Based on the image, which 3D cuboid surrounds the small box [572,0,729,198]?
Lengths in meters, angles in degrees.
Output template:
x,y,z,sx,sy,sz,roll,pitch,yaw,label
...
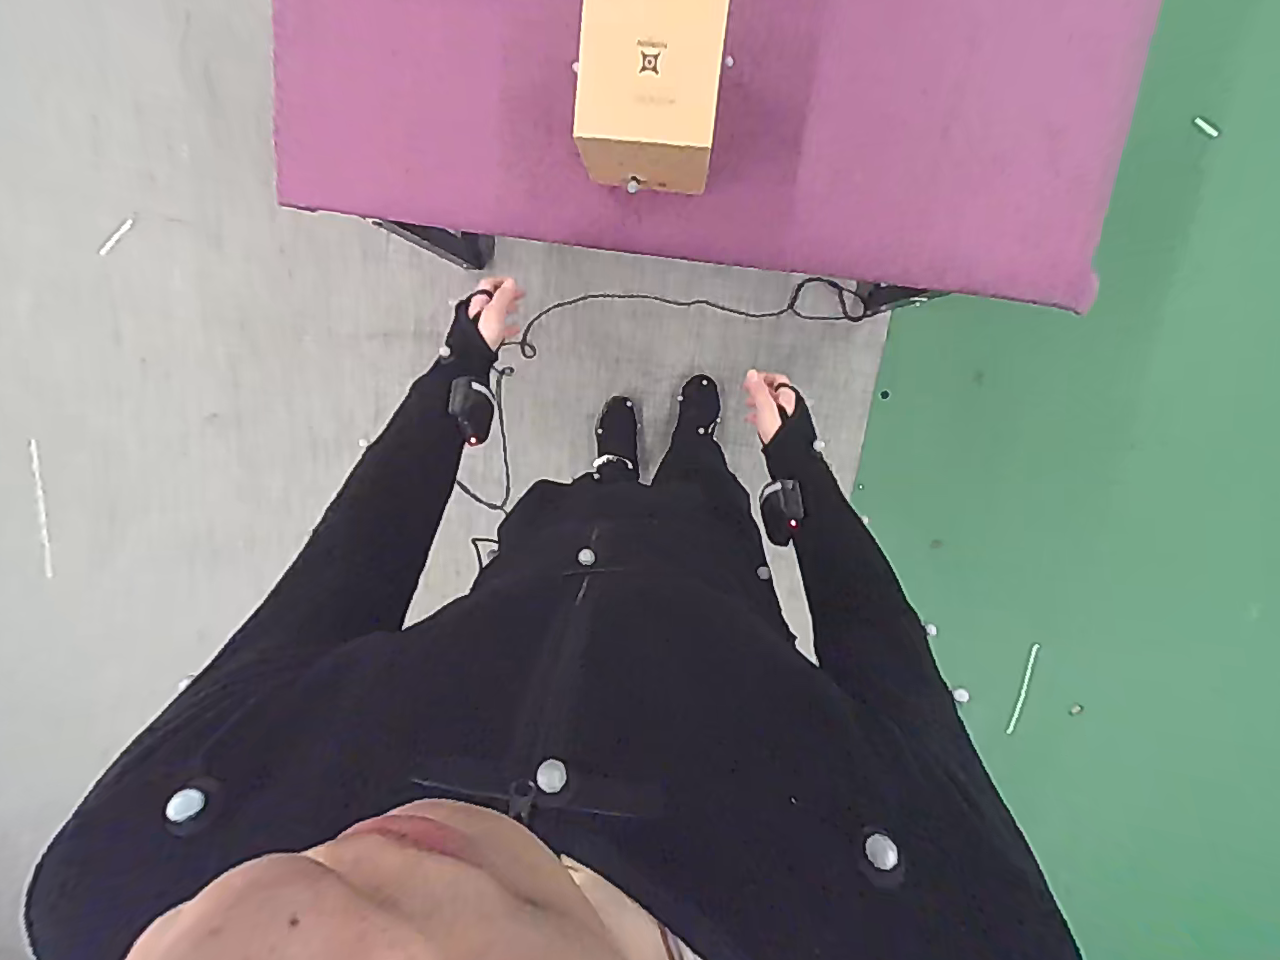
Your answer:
x,y,z,sx,sy,sz,roll,pitch,yaw,label
0.014,-0.495,0.703,0.168,0.176,0.179,8,102,3,small box
